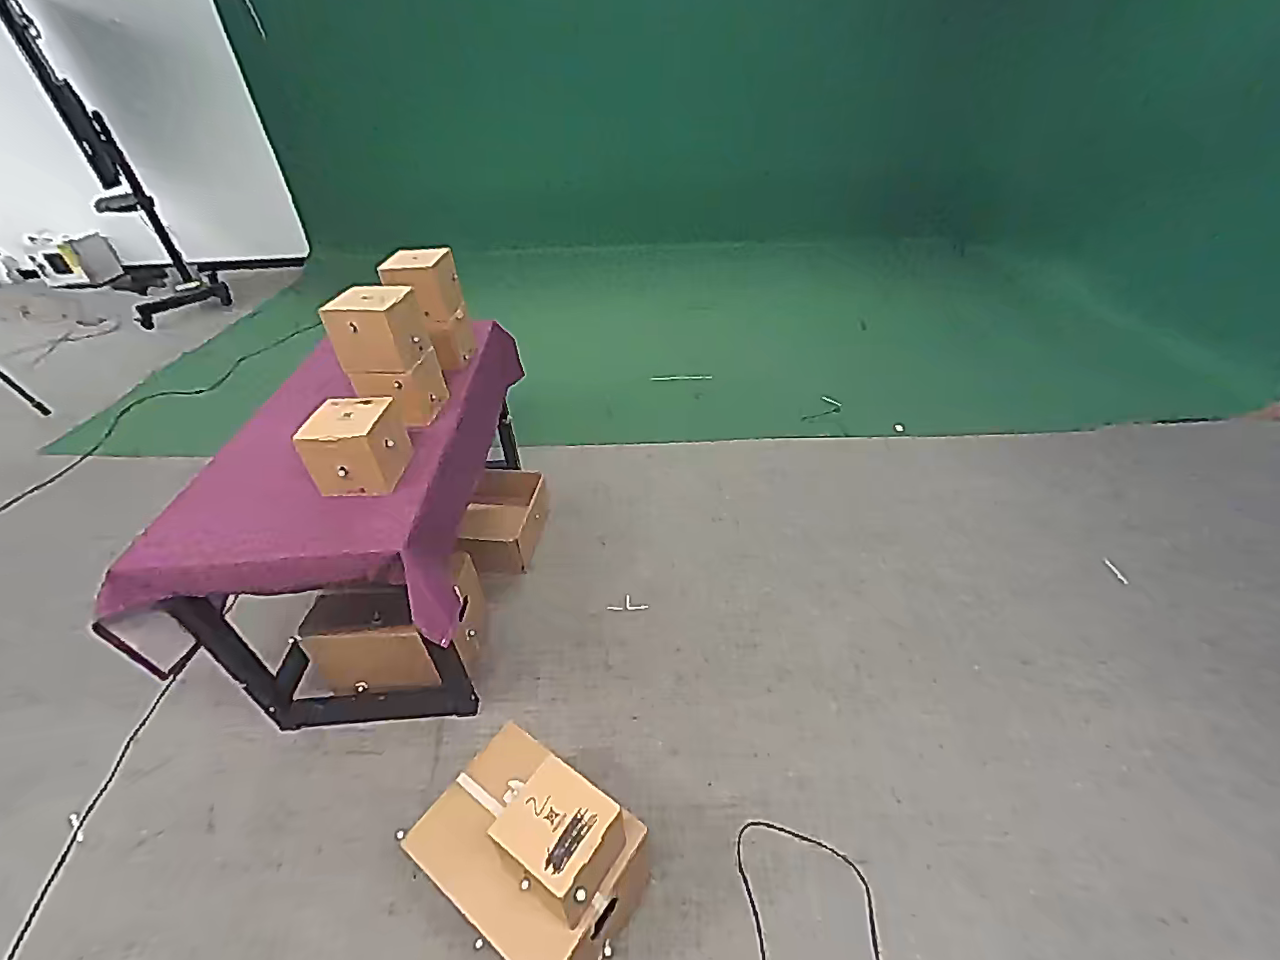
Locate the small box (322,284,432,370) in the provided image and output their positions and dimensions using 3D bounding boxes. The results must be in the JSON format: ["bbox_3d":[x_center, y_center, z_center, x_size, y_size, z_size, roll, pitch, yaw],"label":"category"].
[{"bbox_3d":[-0.677,-0.399,1.413,0.179,0.176,0.168,3,40,6],"label":"small box"}]

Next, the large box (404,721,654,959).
[{"bbox_3d":[-0.220,0.828,1.184,0.408,0.320,0.320,22,45,29],"label":"large box"}]

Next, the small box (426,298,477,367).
[{"bbox_3d":[-0.650,-0.477,1.762,0.179,0.176,0.168,-2,39,3],"label":"small box"}]

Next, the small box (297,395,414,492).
[{"bbox_3d":[-0.660,-0.084,1.284,0.168,0.176,0.179,-1,40,2],"label":"small box"}]

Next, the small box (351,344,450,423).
[{"bbox_3d":[-0.663,-0.271,1.516,0.179,0.176,0.168,2,40,5],"label":"small box"}]

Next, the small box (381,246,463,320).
[{"bbox_3d":[-0.660,-0.605,1.662,0.168,0.176,0.179,-1,40,4],"label":"small box"}]
